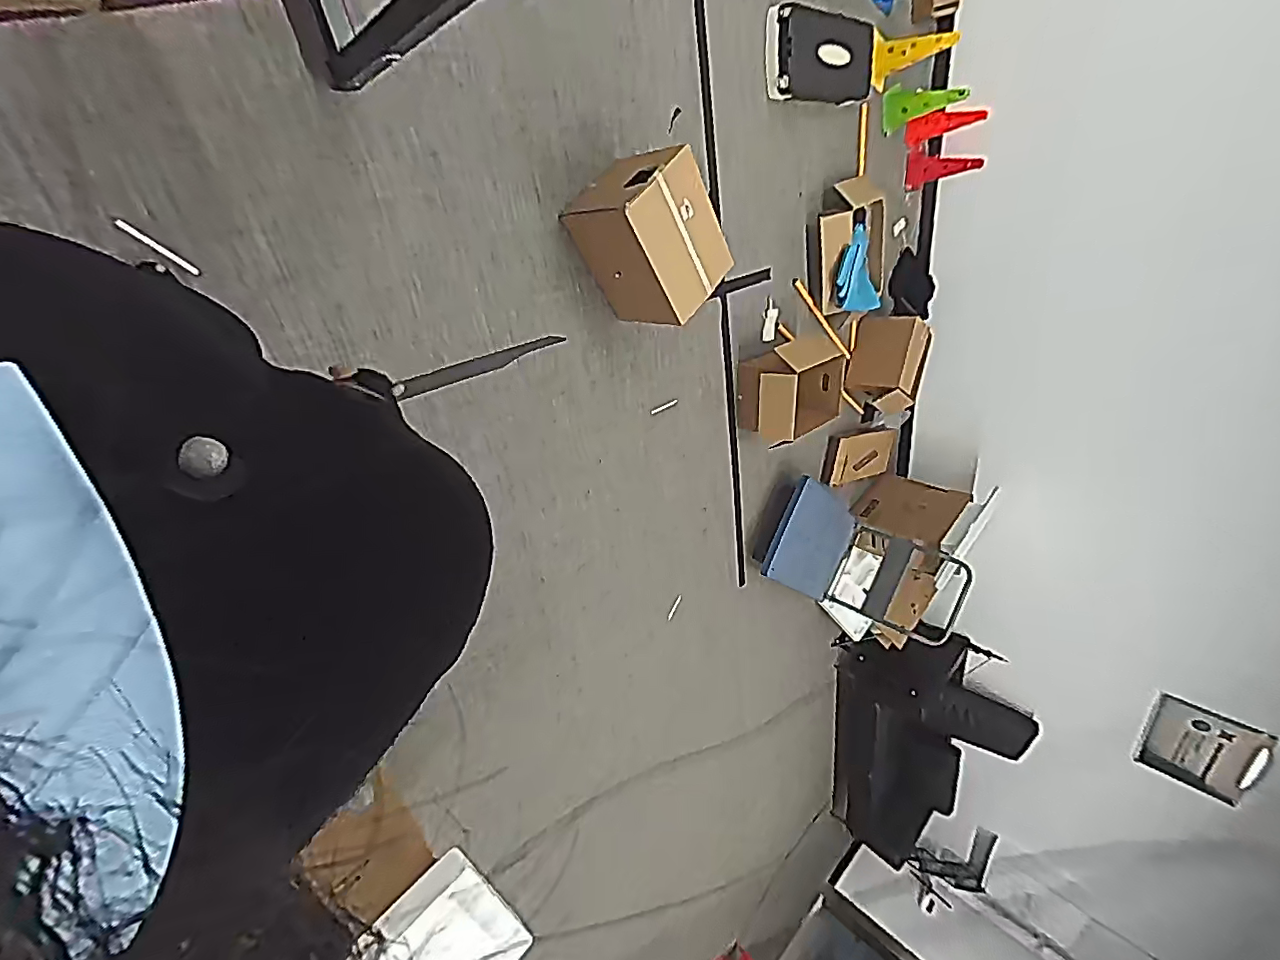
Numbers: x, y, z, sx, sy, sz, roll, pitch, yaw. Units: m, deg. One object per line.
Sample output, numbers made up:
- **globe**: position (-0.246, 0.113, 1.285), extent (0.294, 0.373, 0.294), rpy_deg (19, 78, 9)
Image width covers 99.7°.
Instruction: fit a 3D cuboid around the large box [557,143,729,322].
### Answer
- **large box**: position (0.019, -0.763, 1.721), extent (0.320, 0.320, 0.408), rpy_deg (-53, 134, -17)
